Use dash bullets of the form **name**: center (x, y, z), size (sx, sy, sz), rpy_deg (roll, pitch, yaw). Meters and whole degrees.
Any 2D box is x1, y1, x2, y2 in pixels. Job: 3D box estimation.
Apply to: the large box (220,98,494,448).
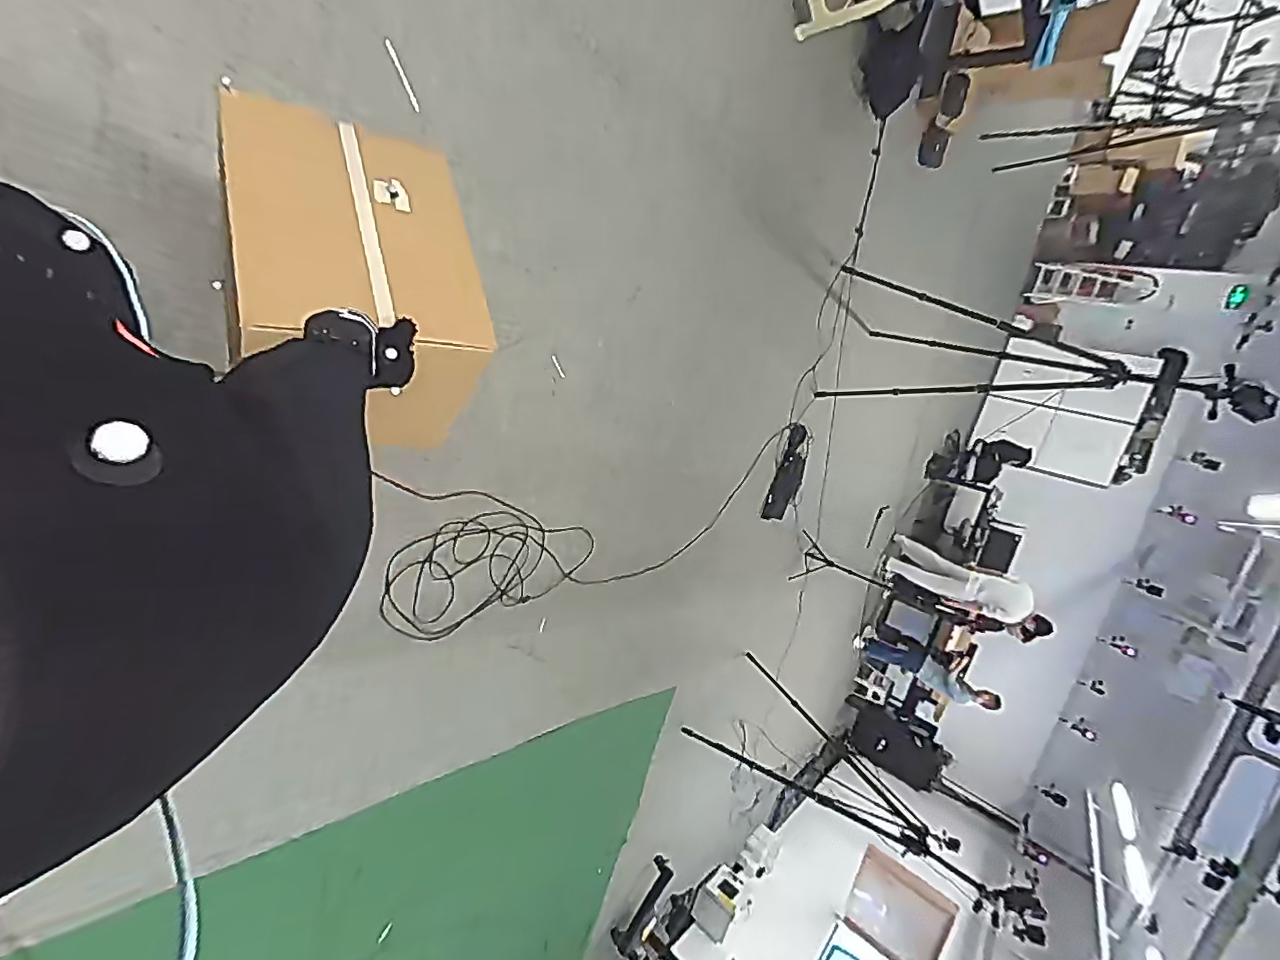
- **large box**: center (-0.480, -0.301, 0.893), size (0.320, 0.408, 0.320), rpy_deg (-4, 156, -39)
